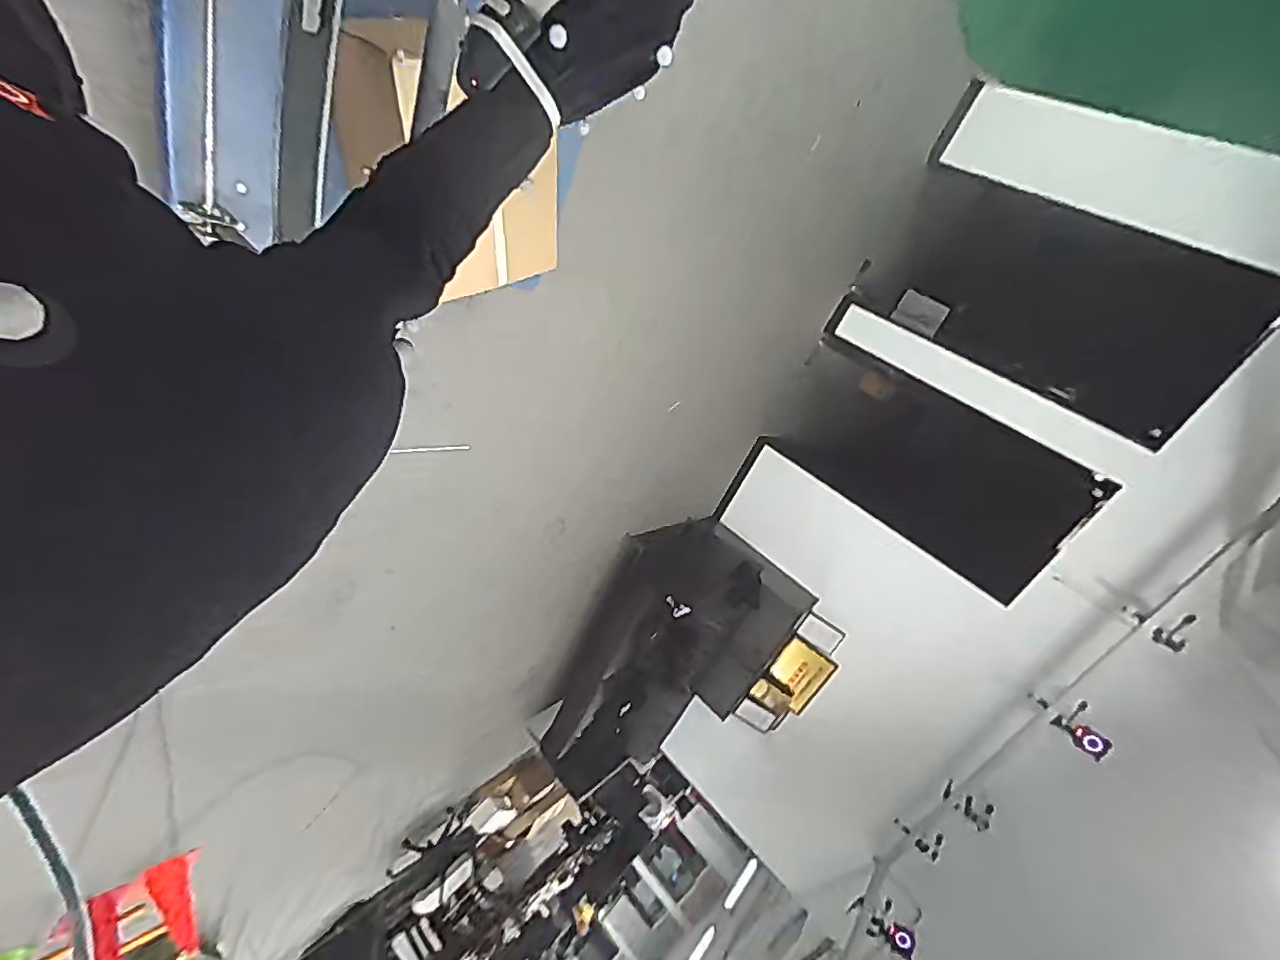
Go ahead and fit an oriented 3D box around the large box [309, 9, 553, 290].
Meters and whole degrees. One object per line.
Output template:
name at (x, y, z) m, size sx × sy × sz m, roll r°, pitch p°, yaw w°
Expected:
large box at (-0.396, -0.669, 1.101) m, size 0.320 × 0.320 × 0.408 m, roll -32°, pitch 148°, yaw -33°
